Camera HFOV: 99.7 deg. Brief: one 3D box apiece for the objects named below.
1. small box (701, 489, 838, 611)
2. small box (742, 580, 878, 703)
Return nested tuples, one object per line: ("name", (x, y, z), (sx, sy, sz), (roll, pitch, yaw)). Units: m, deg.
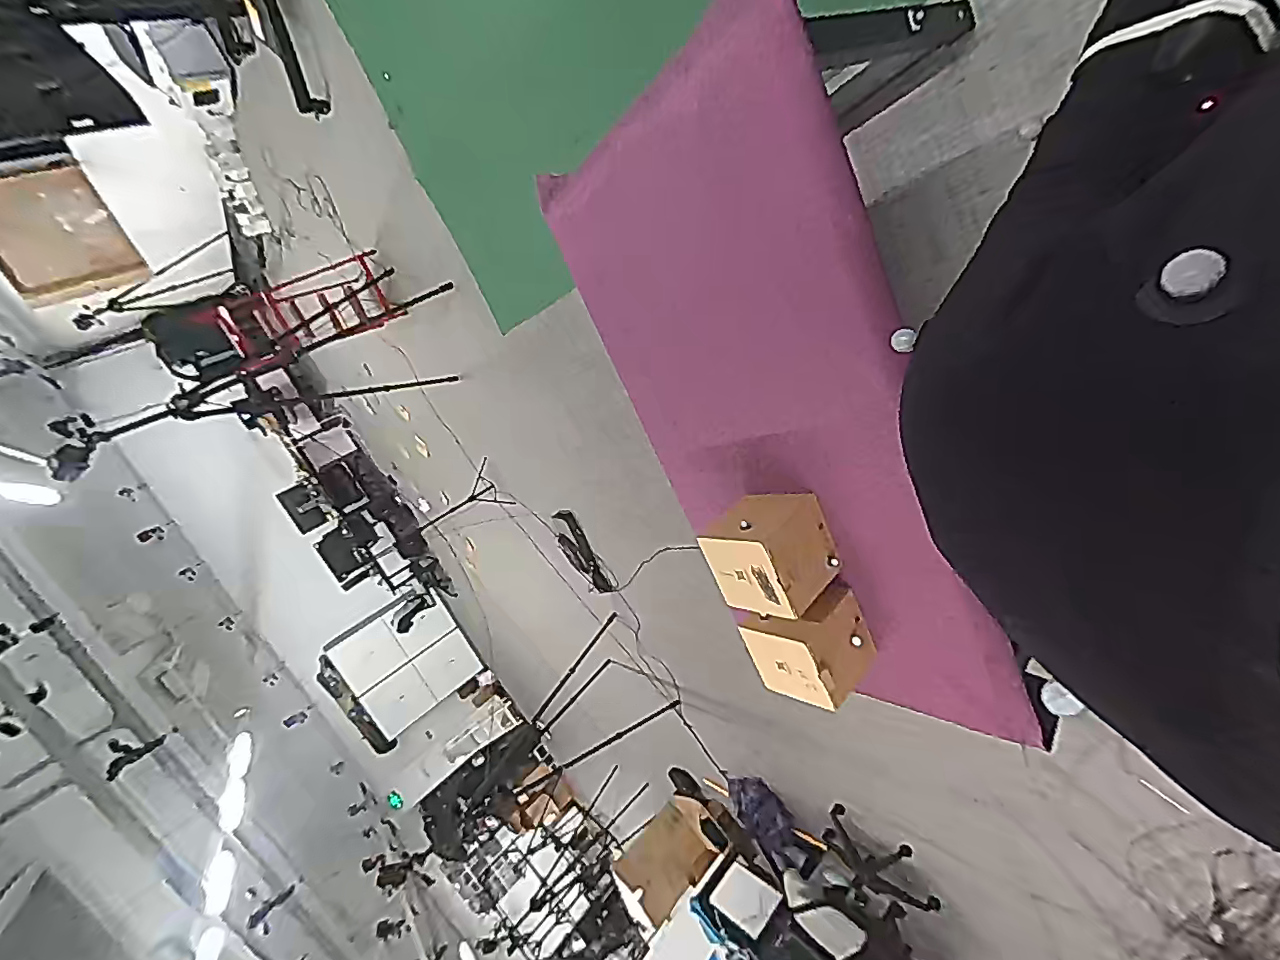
("small box", (0.258, 0.127, 1.046), (0.179, 0.176, 0.168), (-4, 116, 55))
("small box", (0.348, 0.313, 1.102), (0.179, 0.176, 0.168), (-5, 116, 55))
